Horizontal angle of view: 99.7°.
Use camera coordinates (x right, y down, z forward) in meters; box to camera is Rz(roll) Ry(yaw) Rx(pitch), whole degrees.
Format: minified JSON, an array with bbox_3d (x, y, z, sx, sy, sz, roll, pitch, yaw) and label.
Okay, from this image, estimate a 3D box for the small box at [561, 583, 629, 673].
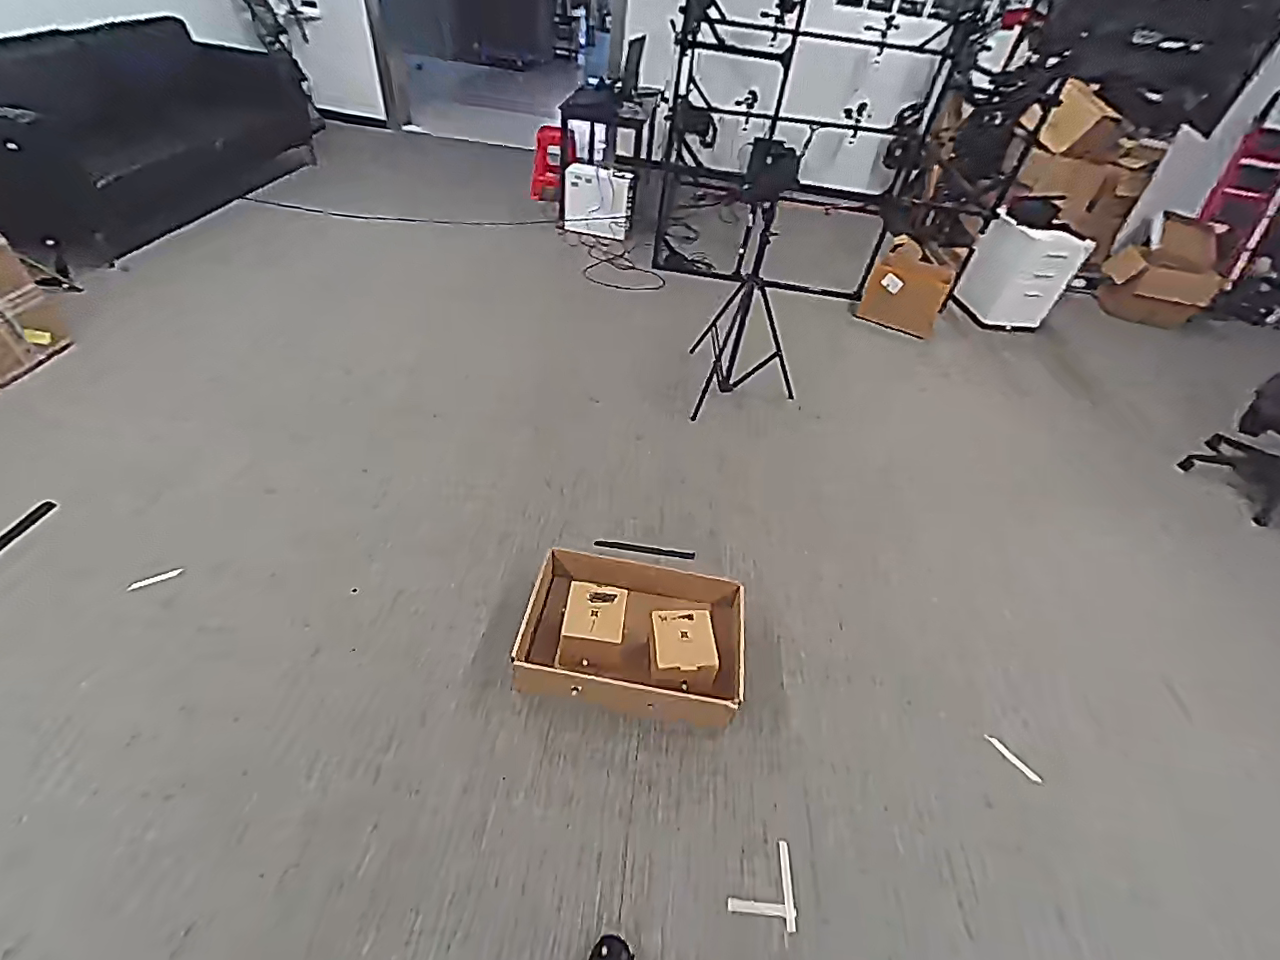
[{"bbox_3d":[-0.130,0.425,1.552,0.168,0.176,0.179,9,44,-1],"label":"small box"}]
